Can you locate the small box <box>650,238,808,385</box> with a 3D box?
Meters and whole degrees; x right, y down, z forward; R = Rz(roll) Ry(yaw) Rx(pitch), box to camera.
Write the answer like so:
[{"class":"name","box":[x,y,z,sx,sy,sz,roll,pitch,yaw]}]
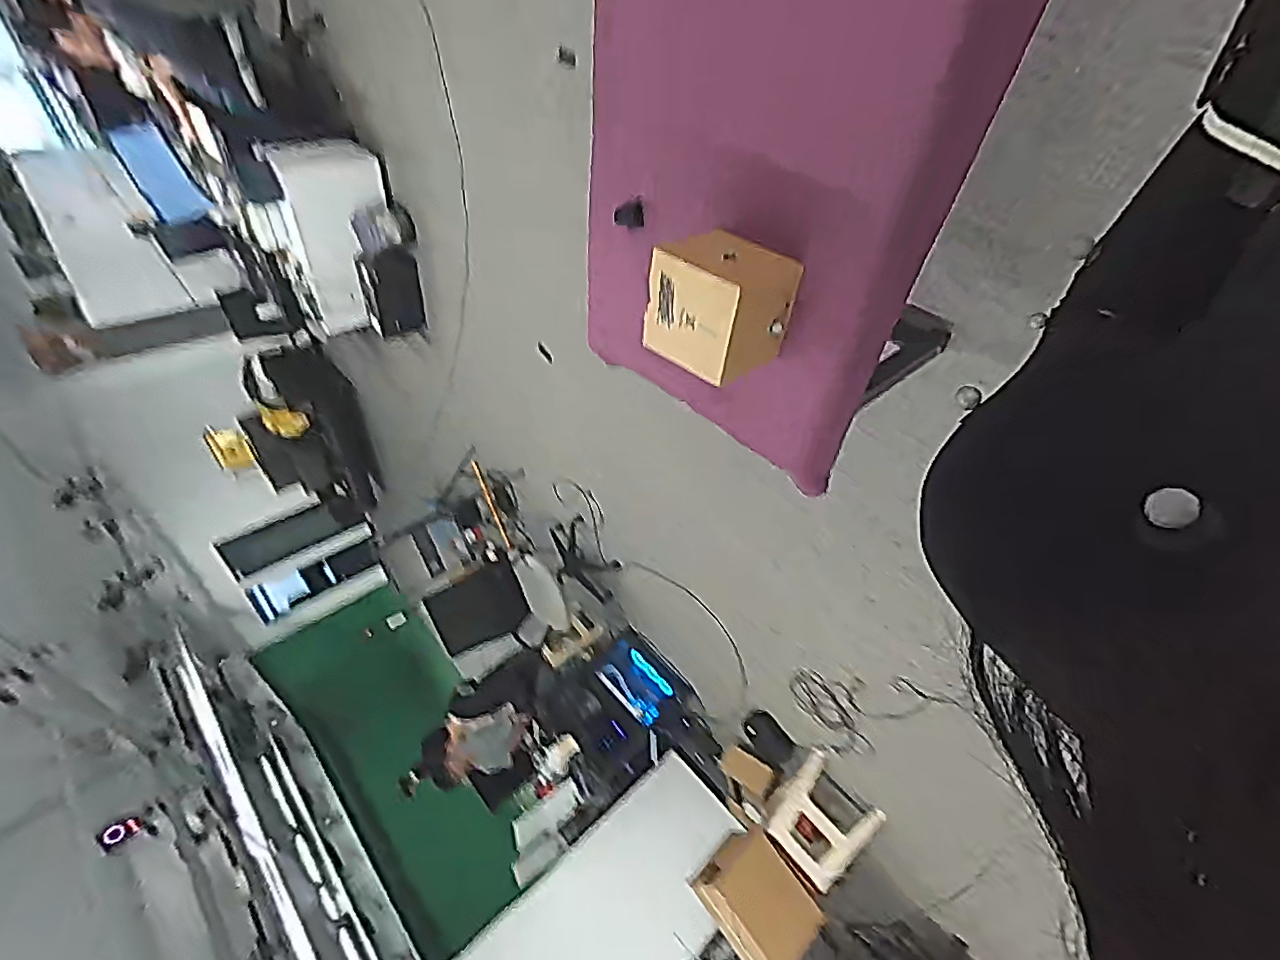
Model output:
[{"class":"small box","box":[0.141,-0.285,0.891,0.179,0.176,0.168,37,140,30]}]
